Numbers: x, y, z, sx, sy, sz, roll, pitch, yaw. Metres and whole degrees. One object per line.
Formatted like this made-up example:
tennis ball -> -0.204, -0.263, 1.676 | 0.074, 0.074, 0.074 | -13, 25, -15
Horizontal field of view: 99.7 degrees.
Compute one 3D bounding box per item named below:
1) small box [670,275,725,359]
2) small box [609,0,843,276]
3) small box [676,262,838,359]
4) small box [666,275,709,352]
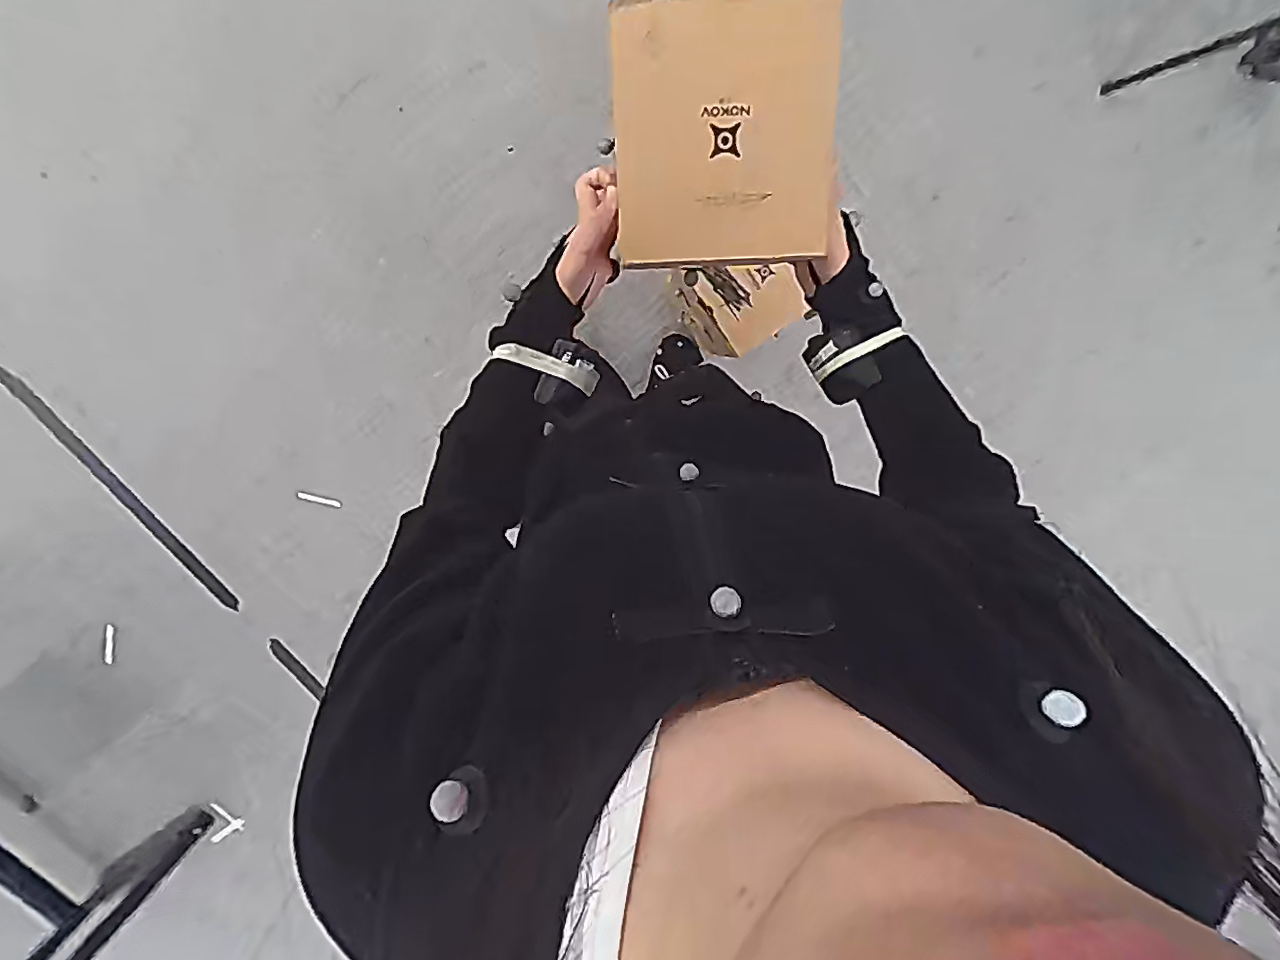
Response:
small box -> 0.170, -0.341, 0.998 | 0.179, 0.176, 0.168 | -33, 102, 10
small box -> 0.059, -0.275, 0.470 | 0.168, 0.176, 0.179 | -4, 110, 0
small box -> 0.167, -0.303, 0.838 | 0.179, 0.176, 0.168 | -34, 102, 8
small box -> 0.164, -0.389, 1.154 | 0.168, 0.176, 0.179 | -32, 102, 9
